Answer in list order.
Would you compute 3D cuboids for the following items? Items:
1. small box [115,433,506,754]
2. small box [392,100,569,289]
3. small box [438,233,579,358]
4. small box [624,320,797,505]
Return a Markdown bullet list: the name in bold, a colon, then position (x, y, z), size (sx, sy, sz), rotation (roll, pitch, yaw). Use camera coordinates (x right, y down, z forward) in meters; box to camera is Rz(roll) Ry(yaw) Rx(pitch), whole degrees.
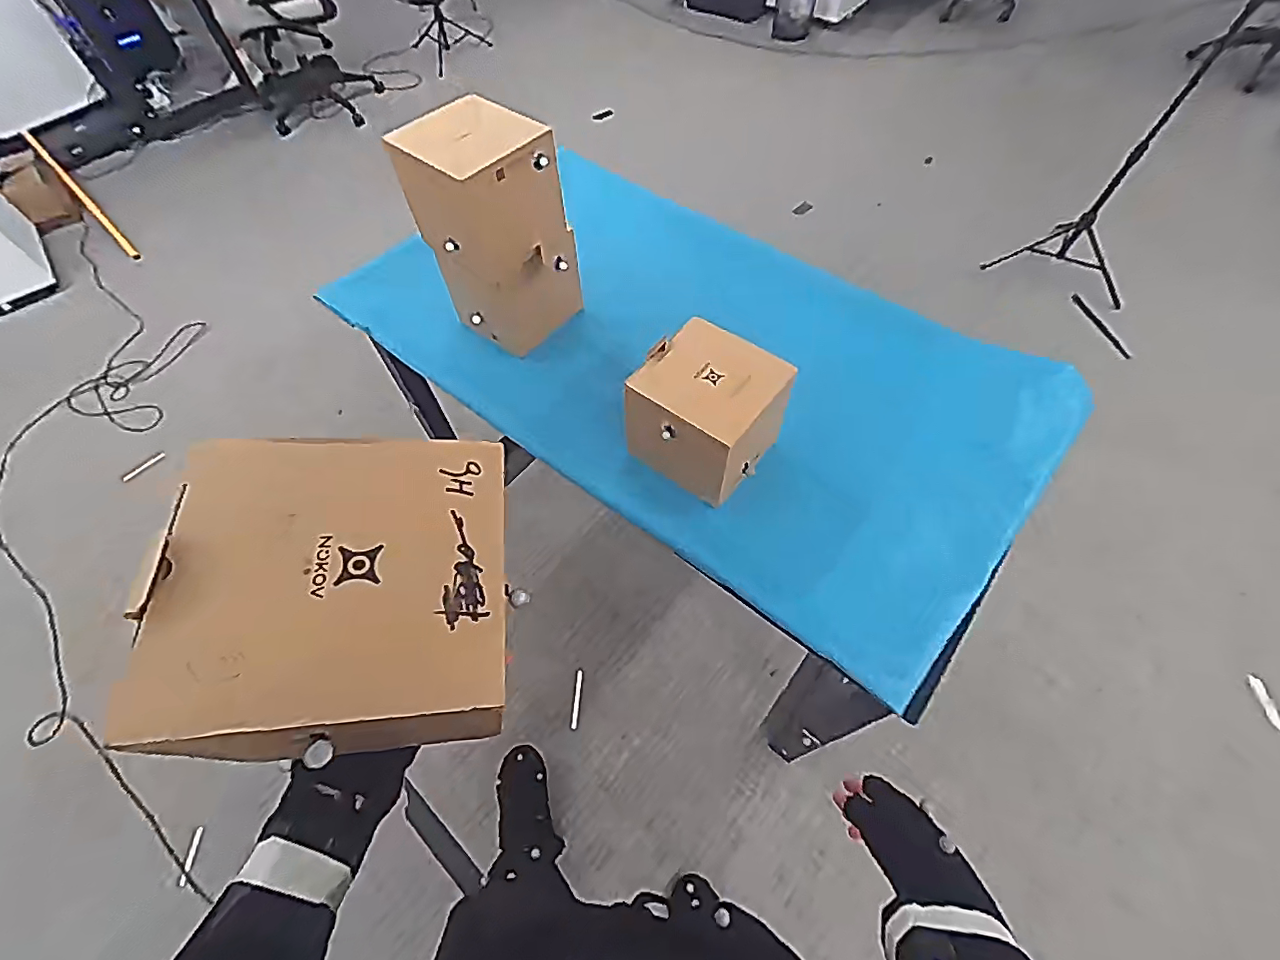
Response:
- **small box**: position (-0.186, 0.083, 0.374), size (0.179, 0.176, 0.168), rotation (-2, 61, -15)
- **small box**: position (-0.236, -0.432, 0.817), size (0.179, 0.176, 0.168), rotation (36, 66, 21)
- **small box**: position (-0.225, -0.355, 0.965), size (0.168, 0.176, 0.179), rotation (36, 68, 23)
- **small box**: position (0.096, -0.093, 0.791), size (0.179, 0.176, 0.168), rotation (34, 66, 21)
